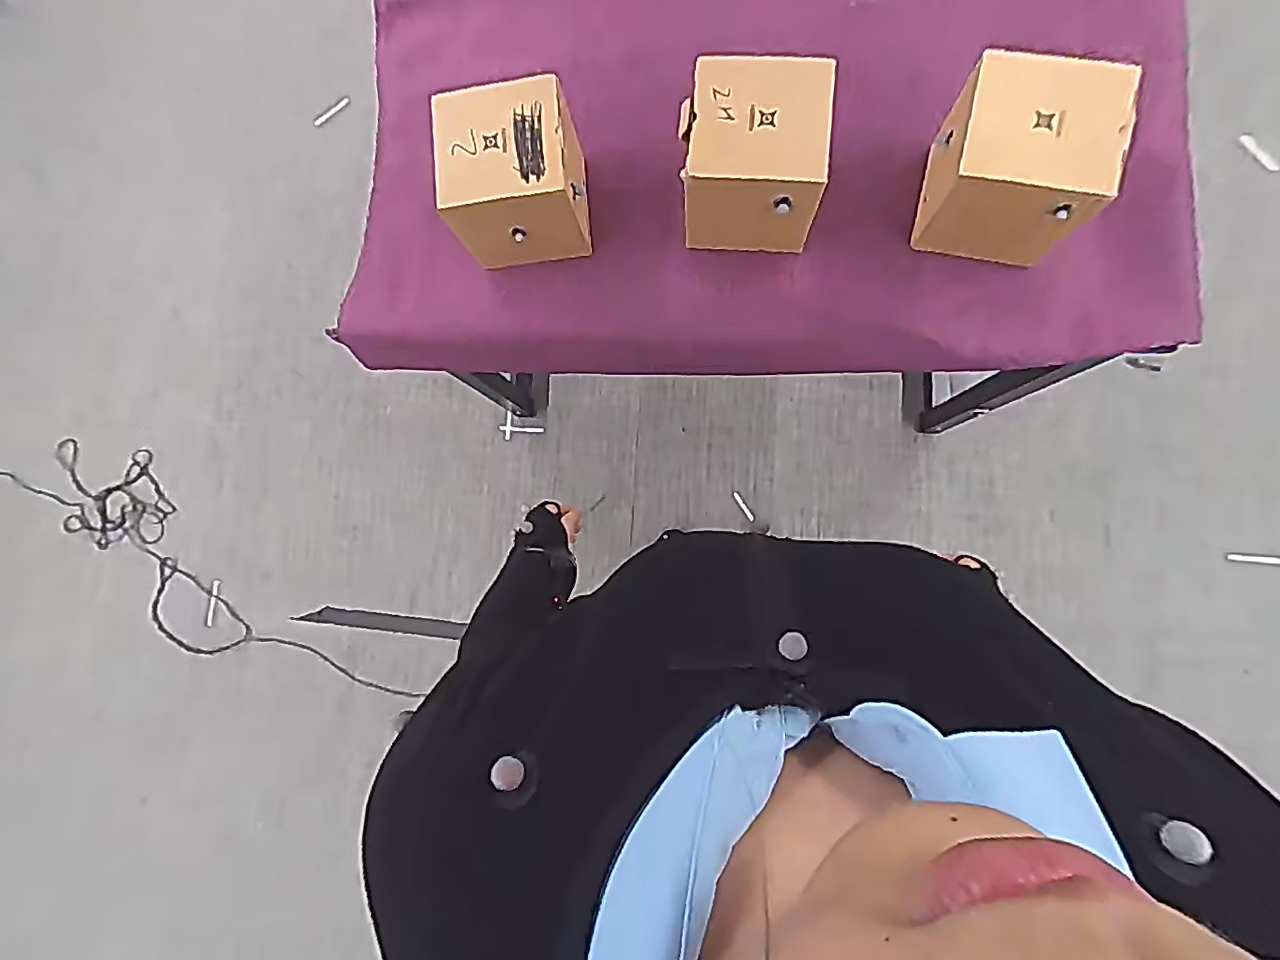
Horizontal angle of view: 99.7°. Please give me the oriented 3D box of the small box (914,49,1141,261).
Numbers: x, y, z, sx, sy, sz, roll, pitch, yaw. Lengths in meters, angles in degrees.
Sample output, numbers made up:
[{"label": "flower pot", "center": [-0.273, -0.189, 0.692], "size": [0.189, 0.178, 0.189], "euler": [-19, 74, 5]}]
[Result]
[{"label": "small box", "center": [0.488, -0.411, 0.709], "size": [0.179, 0.176, 0.168], "euler": [13, 86, 8]}]

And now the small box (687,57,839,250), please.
[{"label": "small box", "center": [0.161, -0.439, 0.749], "size": [0.179, 0.176, 0.168], "euler": [5, 84, 7]}]
